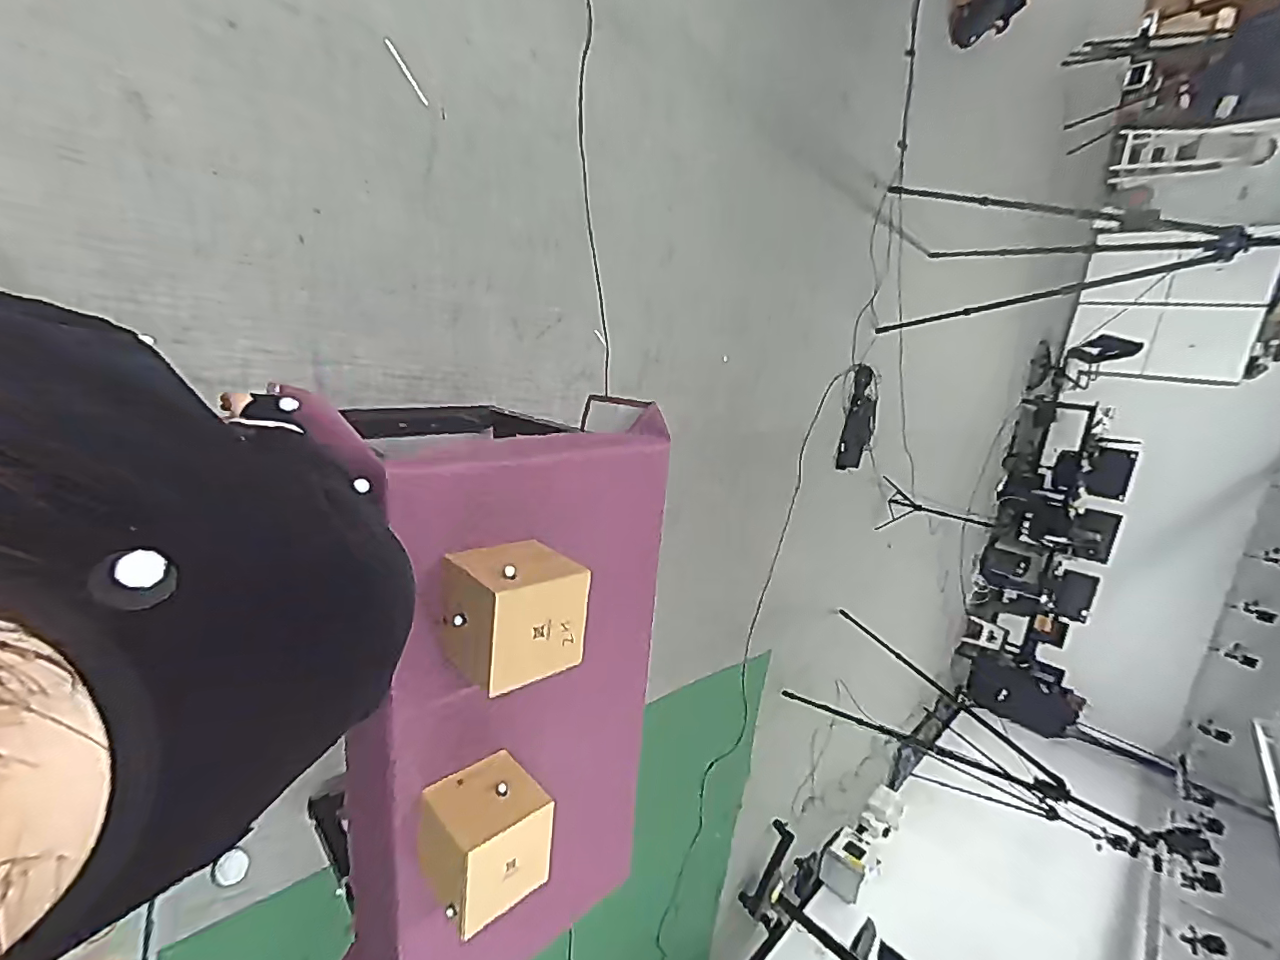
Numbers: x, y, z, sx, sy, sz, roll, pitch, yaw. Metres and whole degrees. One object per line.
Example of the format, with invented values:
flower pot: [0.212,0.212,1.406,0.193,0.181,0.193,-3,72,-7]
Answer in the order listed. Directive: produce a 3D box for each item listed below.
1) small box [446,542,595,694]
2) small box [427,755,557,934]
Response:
small box: [-0.200,0.213,0.886,0.179,0.176,0.168,-5,108,-45]
small box: [-0.267,0.628,0.965,0.168,0.176,0.179,-7,109,-44]
